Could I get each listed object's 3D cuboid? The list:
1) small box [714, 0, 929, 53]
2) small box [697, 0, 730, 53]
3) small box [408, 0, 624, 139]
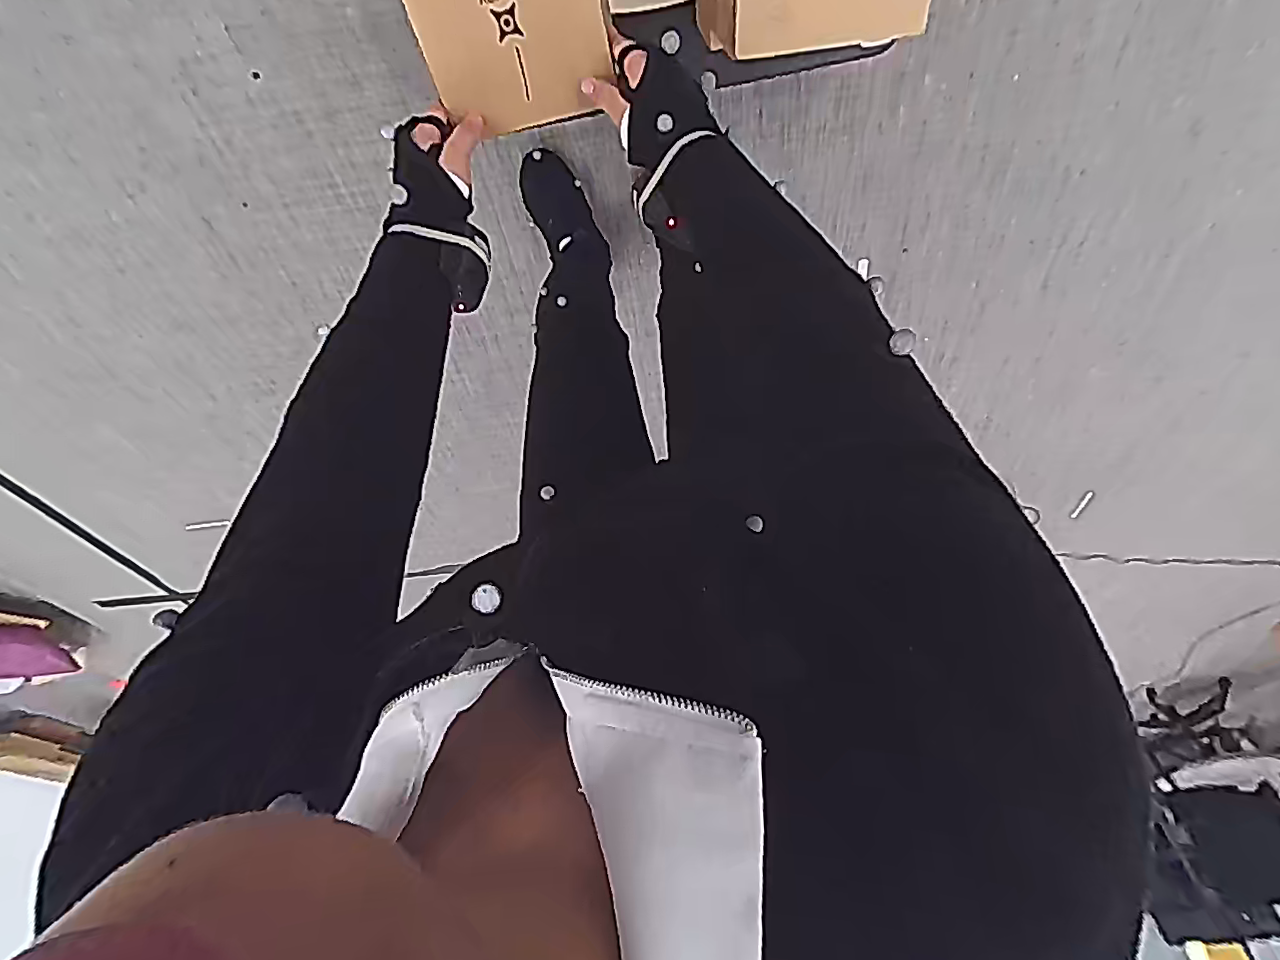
[{"bbox_3d":[0.160,-0.511,0.488,0.179,0.176,0.168,-5,137,4],"label":"small box"},{"bbox_3d":[0.154,-0.617,0.612,0.179,0.176,0.168,-8,136,5],"label":"small box"},{"bbox_3d":[-0.116,-0.459,0.515,0.168,0.176,0.179,-11,134,7],"label":"small box"}]
